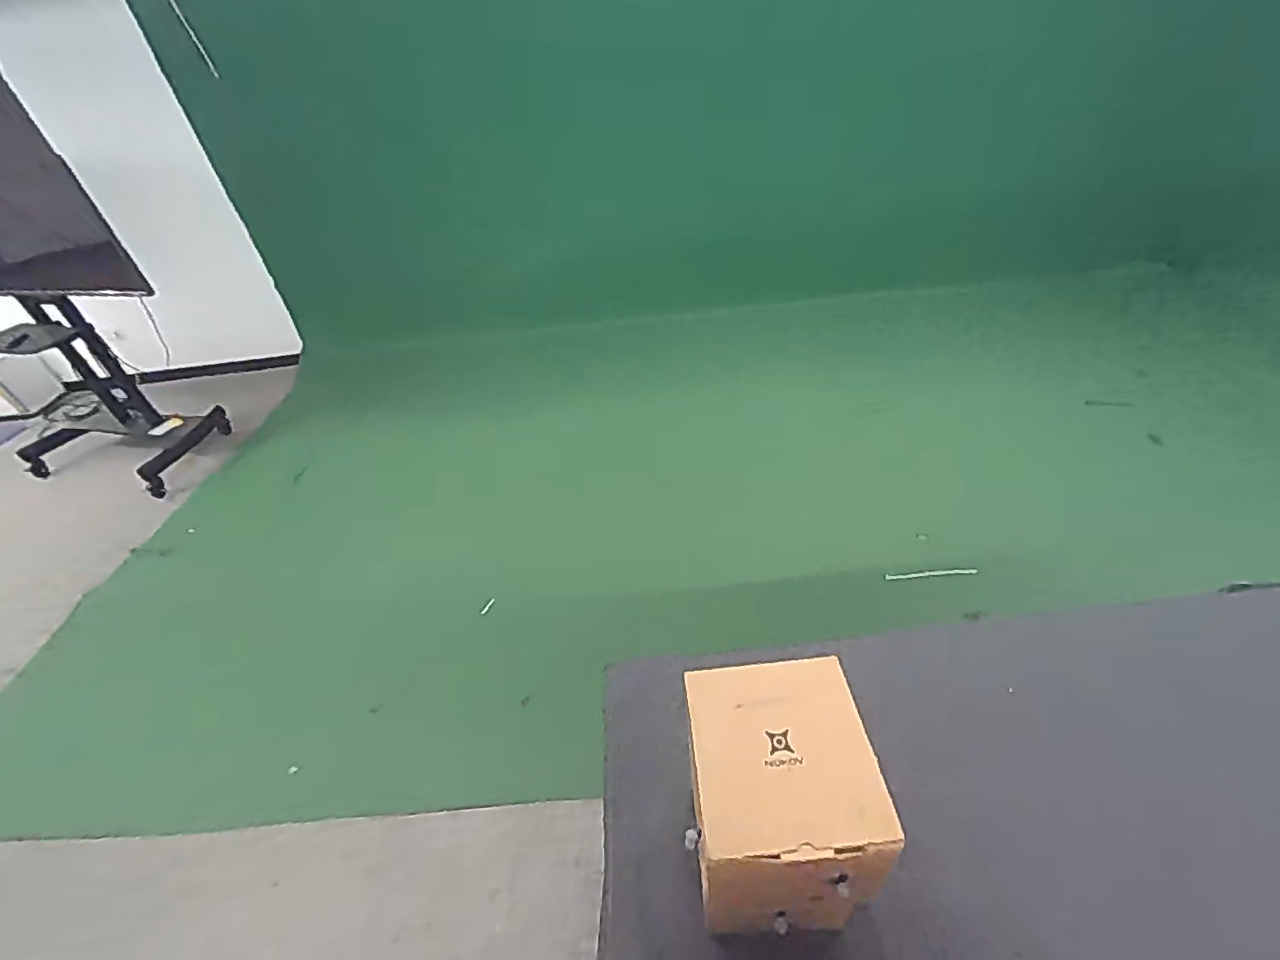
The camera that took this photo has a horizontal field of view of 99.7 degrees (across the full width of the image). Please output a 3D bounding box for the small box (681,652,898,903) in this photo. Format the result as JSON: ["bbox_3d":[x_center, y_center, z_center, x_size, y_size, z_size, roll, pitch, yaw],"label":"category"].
[{"bbox_3d":[0.137,0.307,0.557,0.168,0.176,0.179,-6,37,0],"label":"small box"}]

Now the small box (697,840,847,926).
[{"bbox_3d":[0.152,0.425,0.668,0.168,0.176,0.179,-5,39,2],"label":"small box"}]
